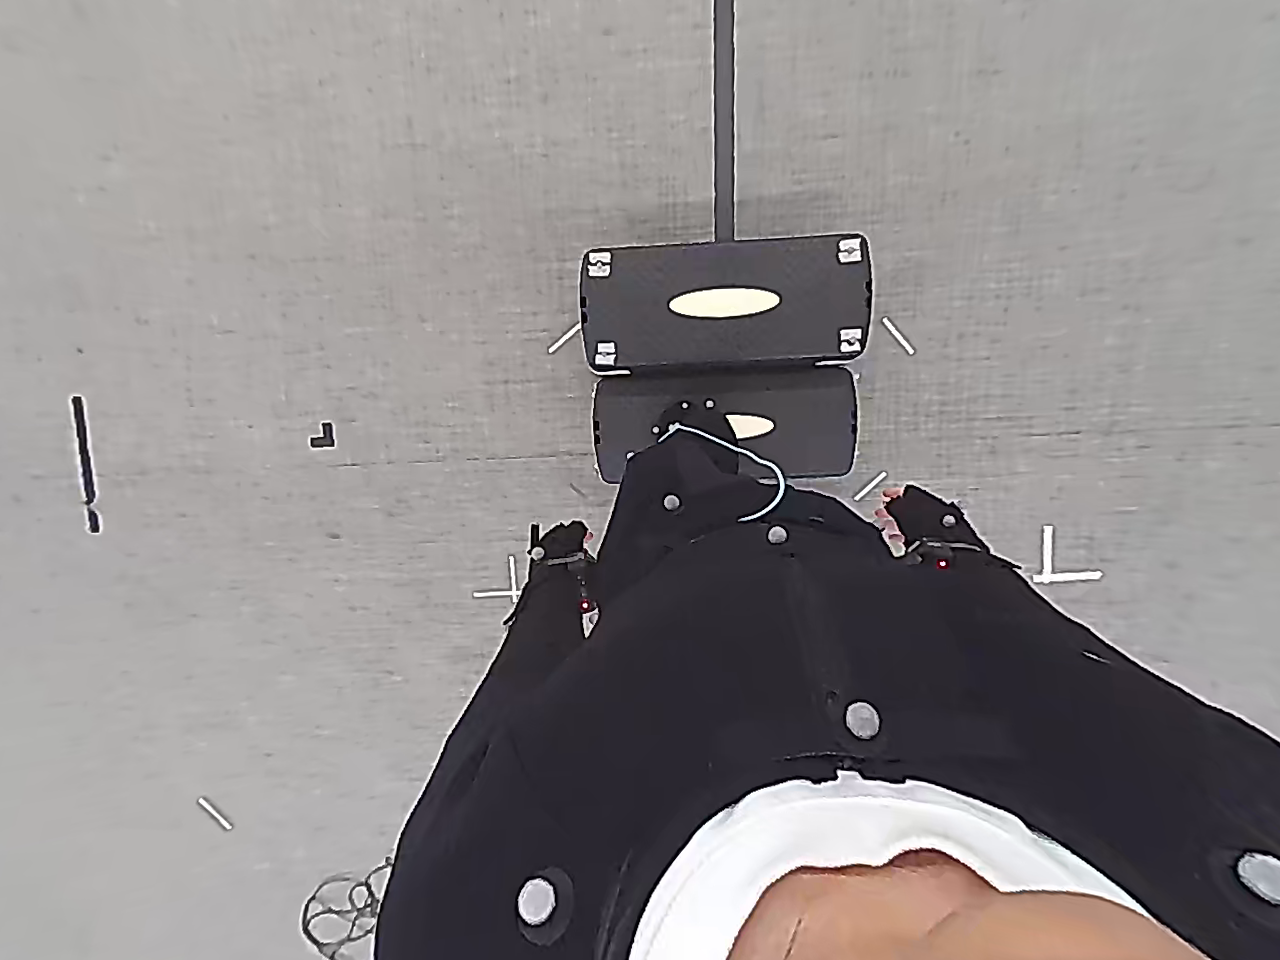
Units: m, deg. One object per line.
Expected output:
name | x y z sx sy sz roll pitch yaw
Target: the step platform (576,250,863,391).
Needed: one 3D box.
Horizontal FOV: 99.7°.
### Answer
step platform | 0.185 -0.384 1.336 0.684 0.204 0.286 -3 98 3
